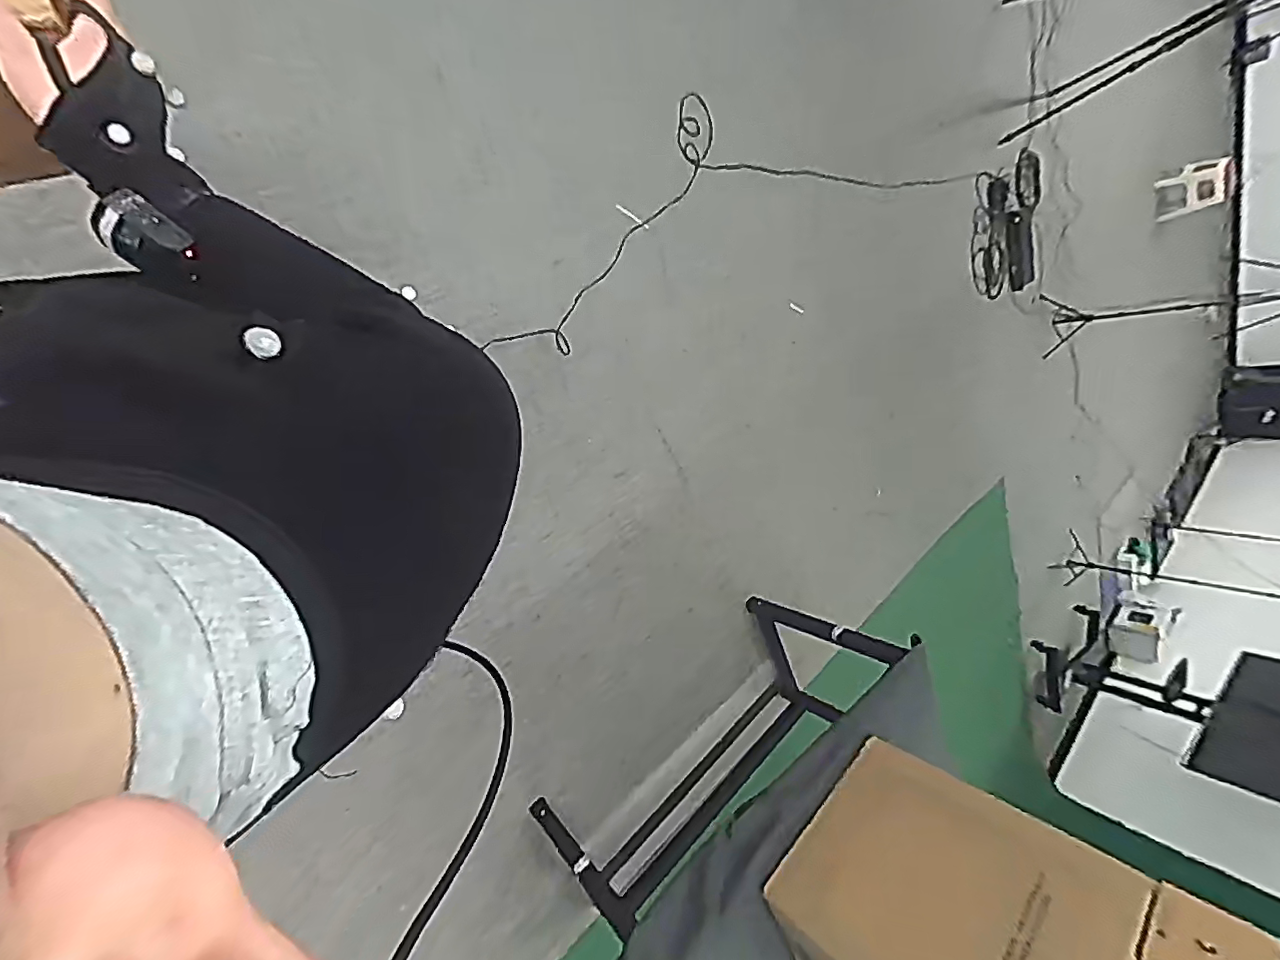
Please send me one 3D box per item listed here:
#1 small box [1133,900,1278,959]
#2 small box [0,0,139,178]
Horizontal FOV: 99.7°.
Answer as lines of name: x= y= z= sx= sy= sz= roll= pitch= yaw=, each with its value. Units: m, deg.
small box: x=1.056 y=0.947 z=1.016 sx=0.168 sy=0.176 sz=0.179 roll=-36 pitch=114 yaw=-28
small box: x=-0.547 y=-0.358 z=0.411 sx=0.168 sy=0.176 sz=0.179 roll=-28 pitch=95 yaw=-22
